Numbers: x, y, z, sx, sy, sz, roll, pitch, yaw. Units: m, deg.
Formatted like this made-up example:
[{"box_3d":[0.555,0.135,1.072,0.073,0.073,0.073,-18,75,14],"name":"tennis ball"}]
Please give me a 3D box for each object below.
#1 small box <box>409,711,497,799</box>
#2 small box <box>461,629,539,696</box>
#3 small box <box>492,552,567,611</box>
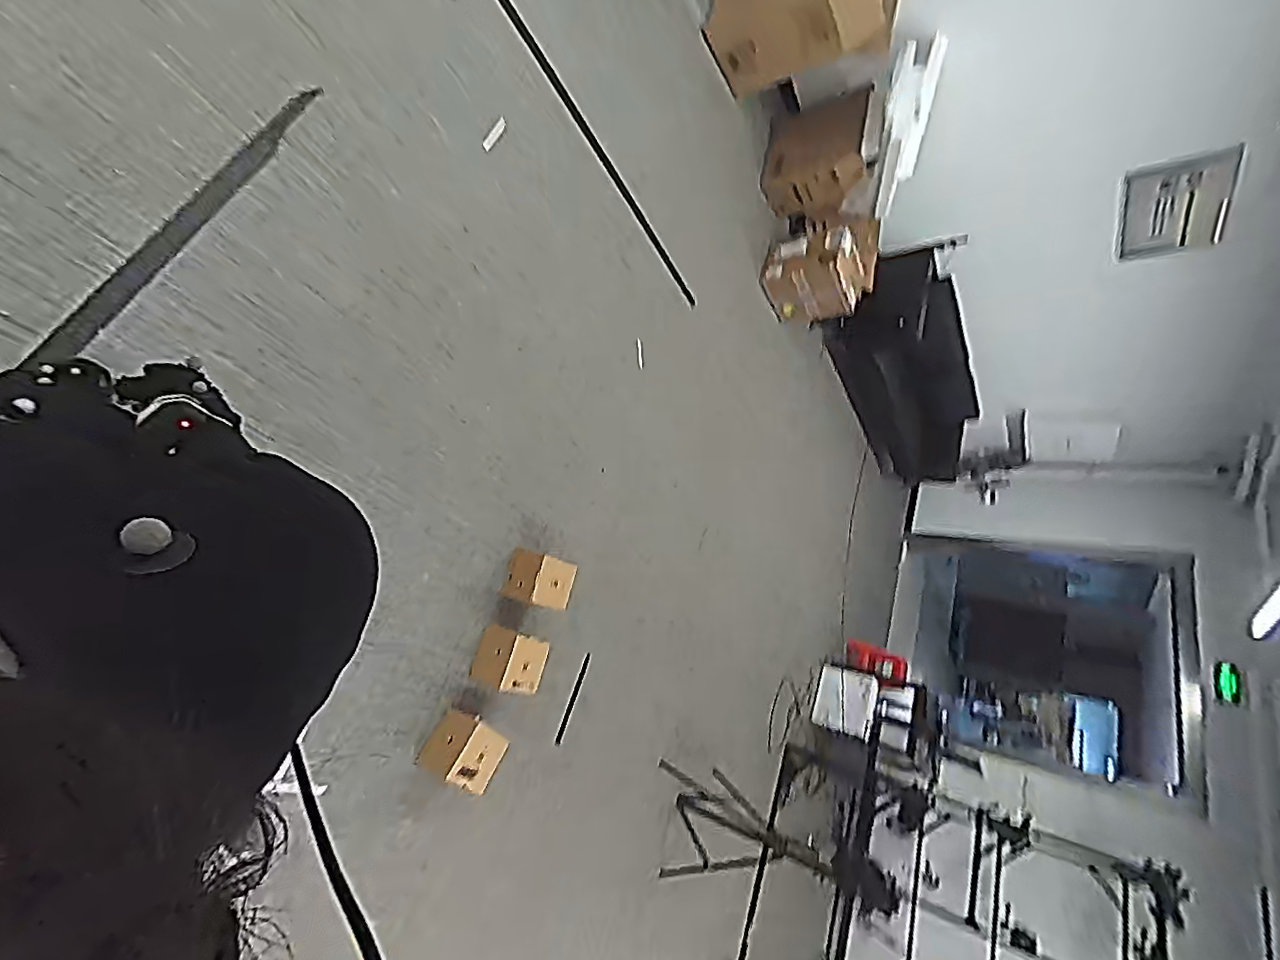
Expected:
[{"box_3d":[-0.596,0.861,1.705,0.168,0.176,0.179,57,49,-37],"name":"small box"},{"box_3d":[-0.480,0.619,1.844,0.168,0.176,0.179,36,62,-47],"name":"small box"},{"box_3d":[-0.400,0.362,1.938,0.179,0.176,0.168,33,67,-49],"name":"small box"}]
